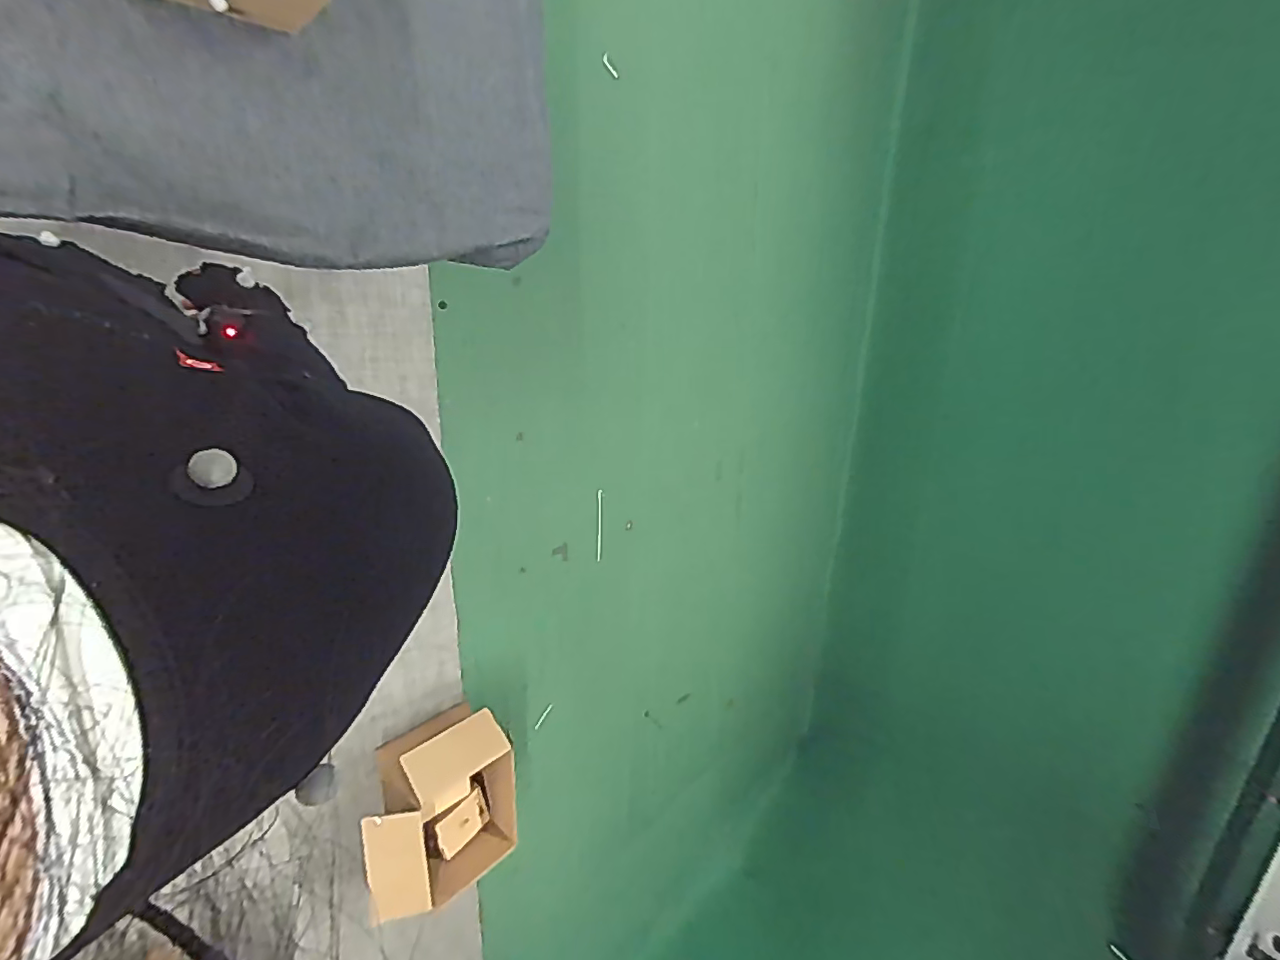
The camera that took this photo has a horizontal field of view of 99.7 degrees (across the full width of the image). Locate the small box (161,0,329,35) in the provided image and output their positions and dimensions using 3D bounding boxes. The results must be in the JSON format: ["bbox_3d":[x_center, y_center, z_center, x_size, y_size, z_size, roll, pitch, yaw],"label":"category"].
[{"bbox_3d":[-0.391,-0.547,0.478,0.168,0.176,0.179,-19,116,-43],"label":"small box"}]
